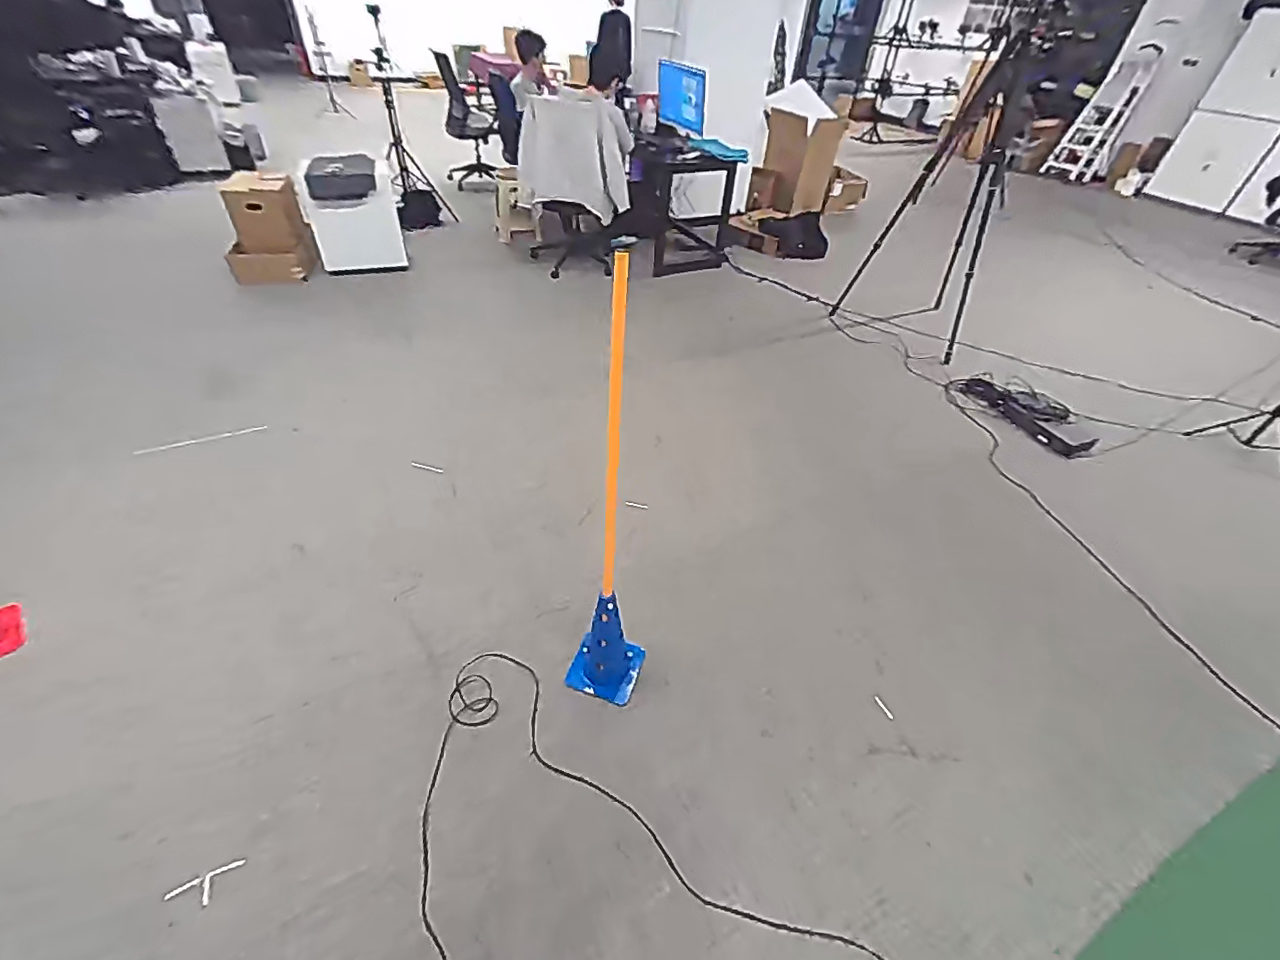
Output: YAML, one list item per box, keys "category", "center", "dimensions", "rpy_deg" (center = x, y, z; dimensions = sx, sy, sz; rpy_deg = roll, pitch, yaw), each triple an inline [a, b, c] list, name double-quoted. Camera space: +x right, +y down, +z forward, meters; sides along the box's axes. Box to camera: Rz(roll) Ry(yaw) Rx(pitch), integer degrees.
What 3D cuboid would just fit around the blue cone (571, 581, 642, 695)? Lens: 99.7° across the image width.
- category: "blue cone"
  center: [-0.091, 0.418, 1.522]
  dimensions: [0.192, 0.380, 0.193]
  rpy_deg: [14, 40, 11]
